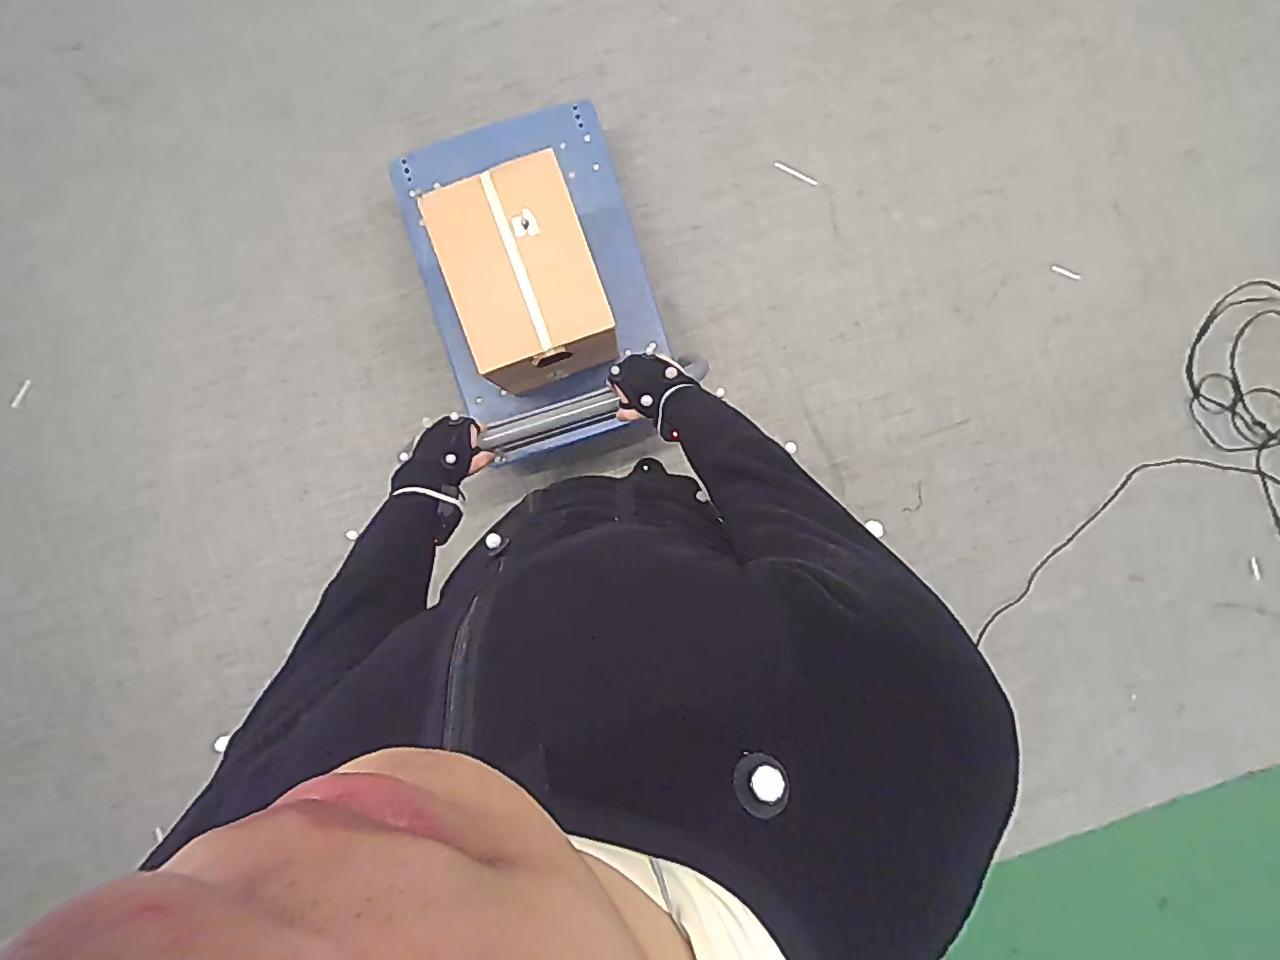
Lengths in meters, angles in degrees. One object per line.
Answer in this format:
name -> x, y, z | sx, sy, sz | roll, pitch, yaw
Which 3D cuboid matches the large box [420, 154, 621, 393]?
large box -> -0.262, -0.467, 1.313 | 0.320, 0.320, 0.408 | -20, 91, 0
